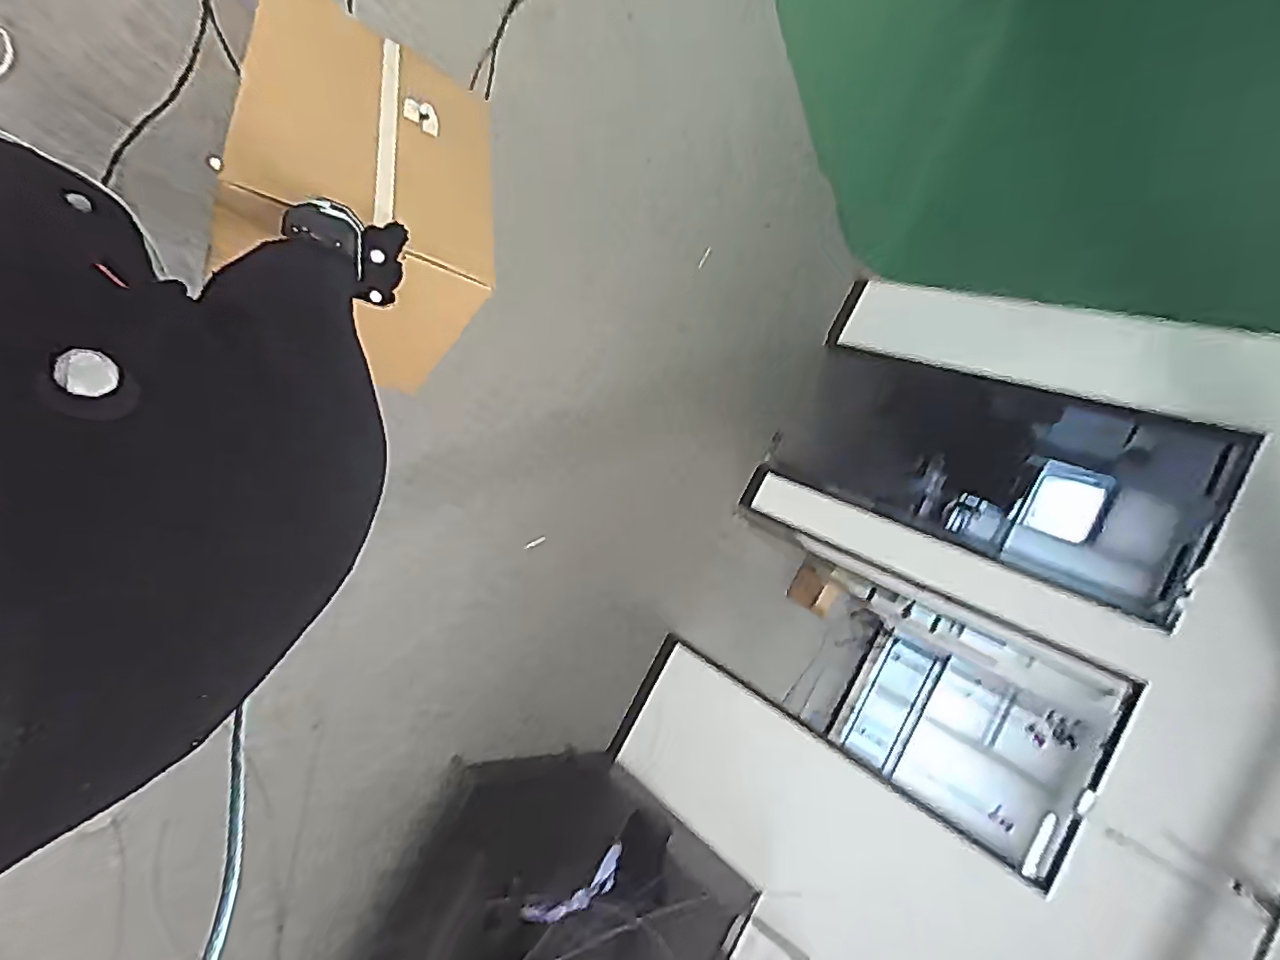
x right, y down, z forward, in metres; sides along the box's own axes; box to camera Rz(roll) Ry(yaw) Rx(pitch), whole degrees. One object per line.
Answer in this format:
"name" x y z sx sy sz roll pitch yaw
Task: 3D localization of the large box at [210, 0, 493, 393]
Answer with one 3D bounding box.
"large box" -0.448 -0.407 0.851 0.320 0.320 0.408 12 59 -40
